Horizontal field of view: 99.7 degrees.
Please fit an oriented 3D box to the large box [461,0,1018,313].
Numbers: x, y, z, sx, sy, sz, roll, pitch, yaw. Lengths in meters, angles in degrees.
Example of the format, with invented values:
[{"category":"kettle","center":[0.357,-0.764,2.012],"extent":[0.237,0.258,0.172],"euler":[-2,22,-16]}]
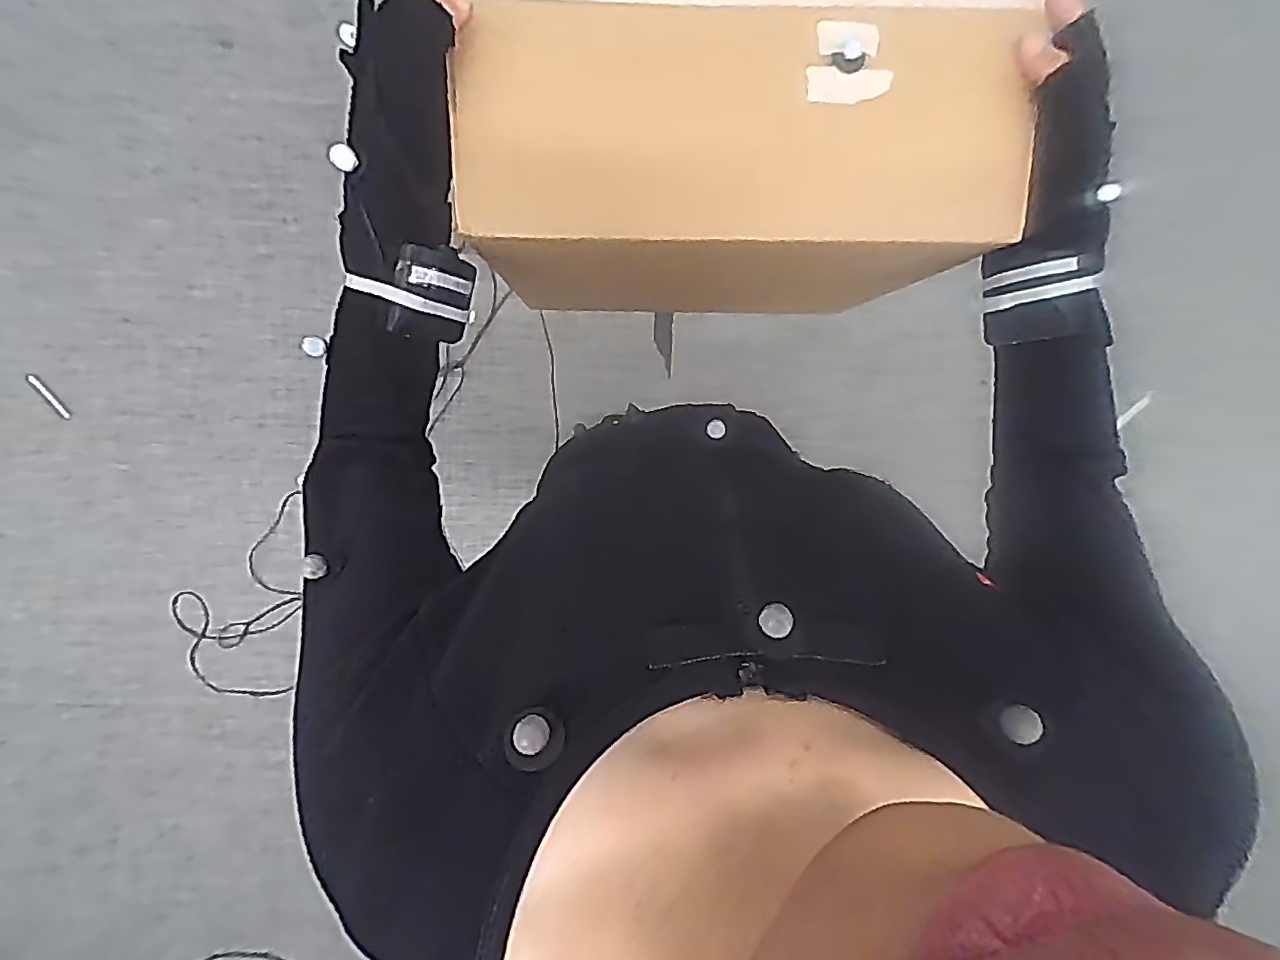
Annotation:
[{"category":"large box","center":[0.064,-0.351,0.528],"extent":[0.408,0.320,0.320],"euler":[-1,98,-3]}]
